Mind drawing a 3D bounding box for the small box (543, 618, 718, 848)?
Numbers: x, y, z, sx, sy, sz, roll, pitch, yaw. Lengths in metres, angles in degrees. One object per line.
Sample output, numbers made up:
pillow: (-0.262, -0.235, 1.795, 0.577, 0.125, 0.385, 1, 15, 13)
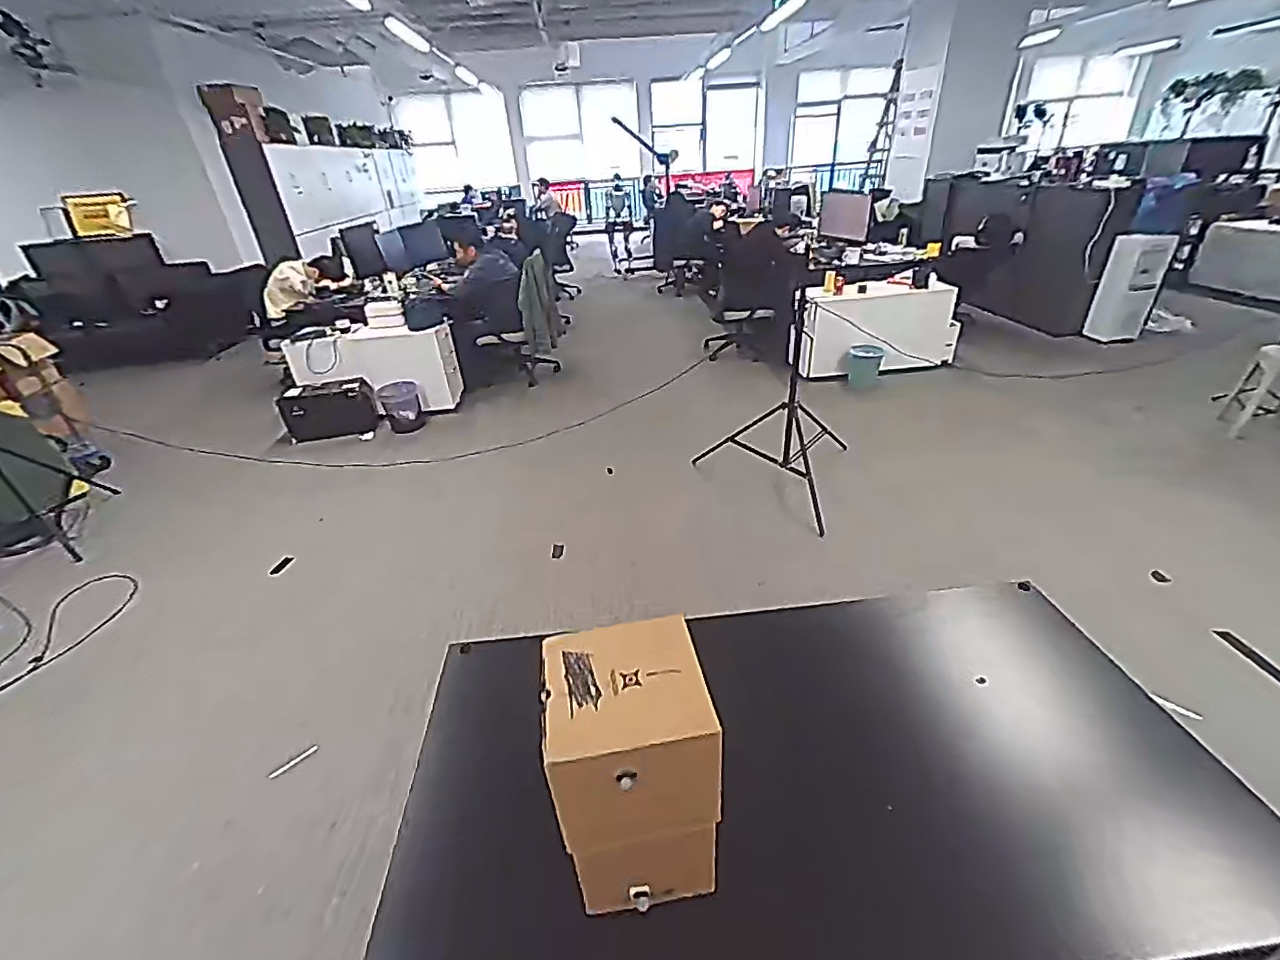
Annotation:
small box: (-0.012, 0.292, 0.632, 0.179, 0.176, 0.168, -8, 31, -6)

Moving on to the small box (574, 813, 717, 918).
small box: (0.000, 0.431, 0.719, 0.168, 0.176, 0.179, -9, 32, -6)
